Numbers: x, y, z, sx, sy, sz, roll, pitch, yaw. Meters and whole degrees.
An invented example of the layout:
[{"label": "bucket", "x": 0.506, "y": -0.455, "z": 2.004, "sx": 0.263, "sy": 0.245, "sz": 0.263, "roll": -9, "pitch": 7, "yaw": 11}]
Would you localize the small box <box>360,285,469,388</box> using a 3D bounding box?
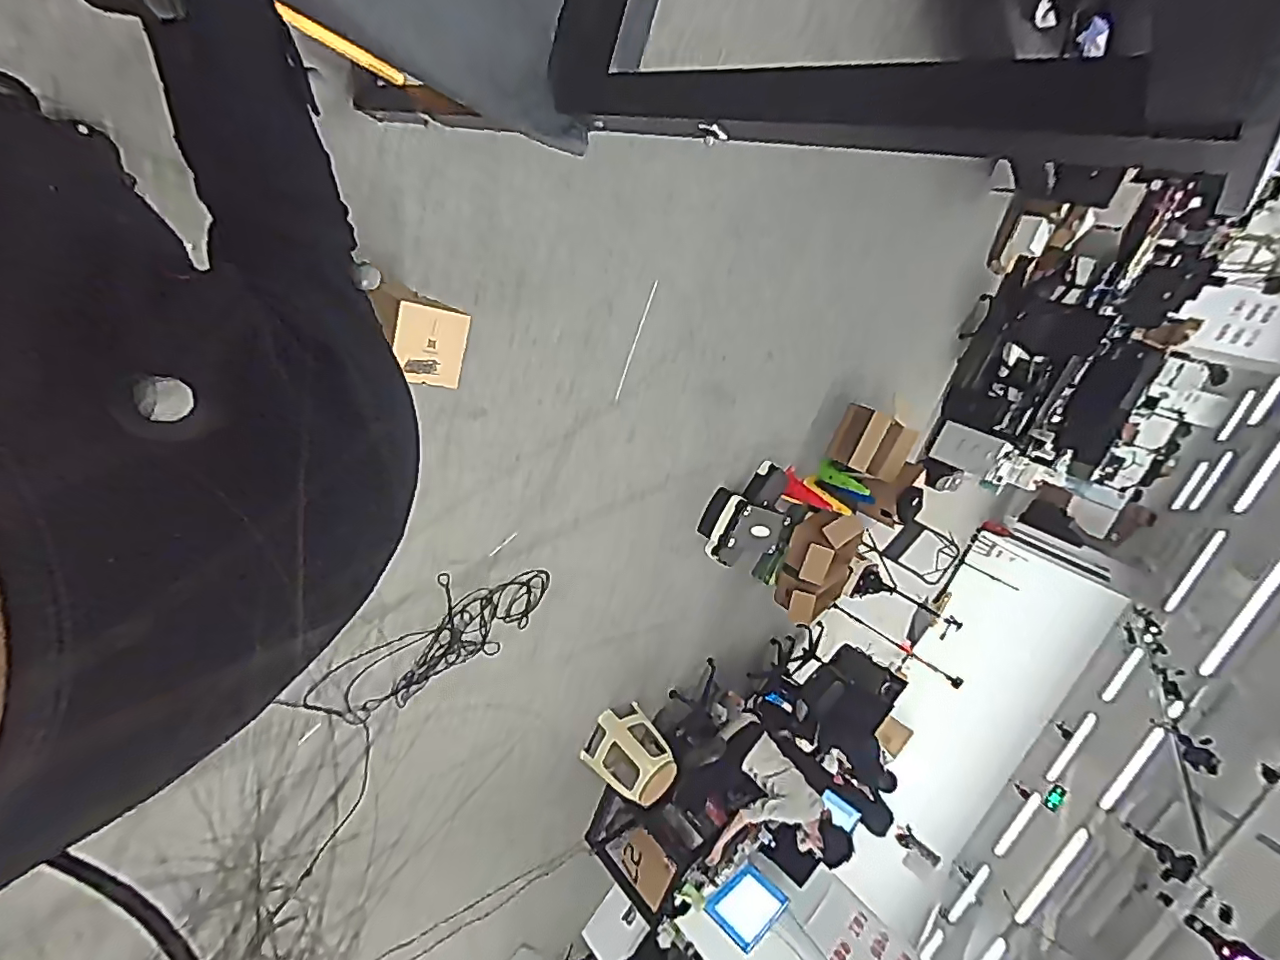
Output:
[{"label": "small box", "x": -0.522, "y": -0.328, "z": 1.240, "sx": 0.168, "sy": 0.176, "sz": 0.179, "roll": -1, "pitch": 115, "yaw": -48}]
